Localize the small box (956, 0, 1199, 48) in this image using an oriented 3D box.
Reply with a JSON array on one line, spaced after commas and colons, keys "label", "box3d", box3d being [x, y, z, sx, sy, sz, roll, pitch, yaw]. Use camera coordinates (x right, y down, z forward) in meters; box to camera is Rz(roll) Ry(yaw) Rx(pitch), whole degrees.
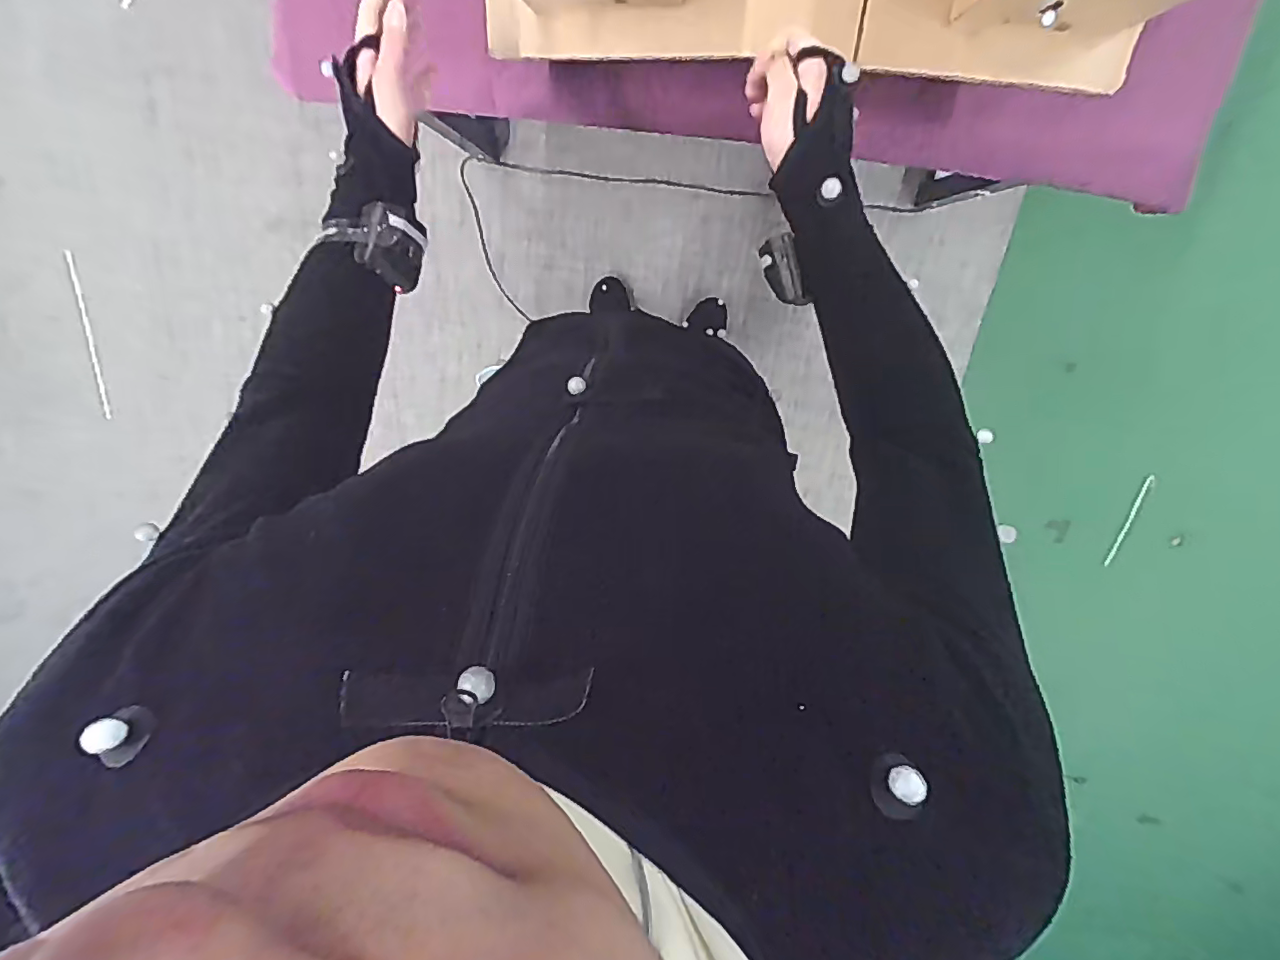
[{"label": "small box", "box3d": [0.400, -0.500, 0.445, 0.168, 0.176, 0.179, 3, 112, -3]}]
